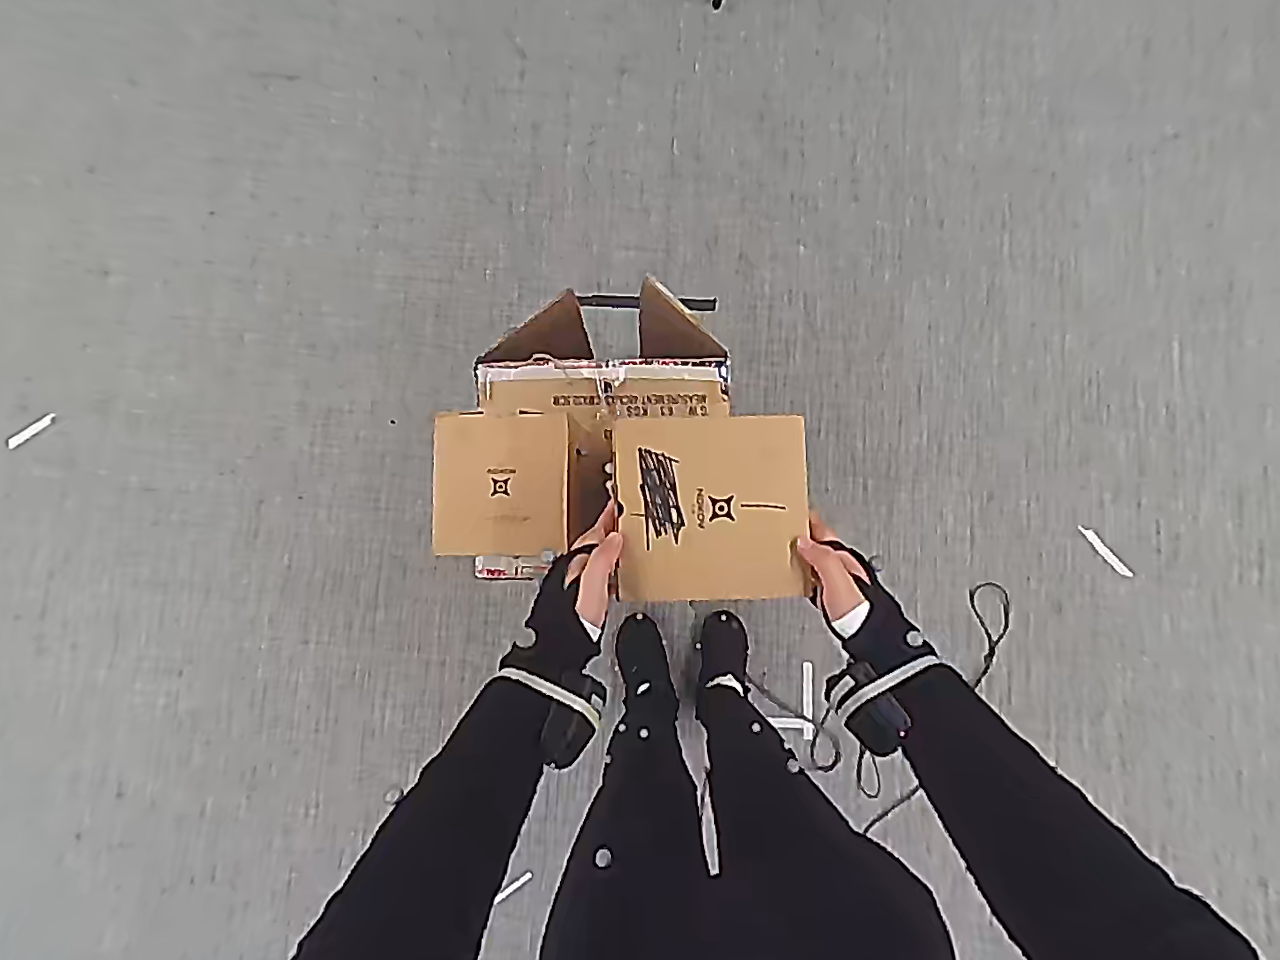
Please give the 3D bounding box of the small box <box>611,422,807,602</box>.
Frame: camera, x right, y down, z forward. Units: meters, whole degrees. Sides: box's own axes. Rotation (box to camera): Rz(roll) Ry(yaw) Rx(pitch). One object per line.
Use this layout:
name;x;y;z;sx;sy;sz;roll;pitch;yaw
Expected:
small box;0.062;0.034;0.572;0.179;0.176;0.168;-1;86;-2

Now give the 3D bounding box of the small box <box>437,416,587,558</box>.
small box;-0.165;0.011;0.741;0.168;0.176;0.179;-1;89;2
